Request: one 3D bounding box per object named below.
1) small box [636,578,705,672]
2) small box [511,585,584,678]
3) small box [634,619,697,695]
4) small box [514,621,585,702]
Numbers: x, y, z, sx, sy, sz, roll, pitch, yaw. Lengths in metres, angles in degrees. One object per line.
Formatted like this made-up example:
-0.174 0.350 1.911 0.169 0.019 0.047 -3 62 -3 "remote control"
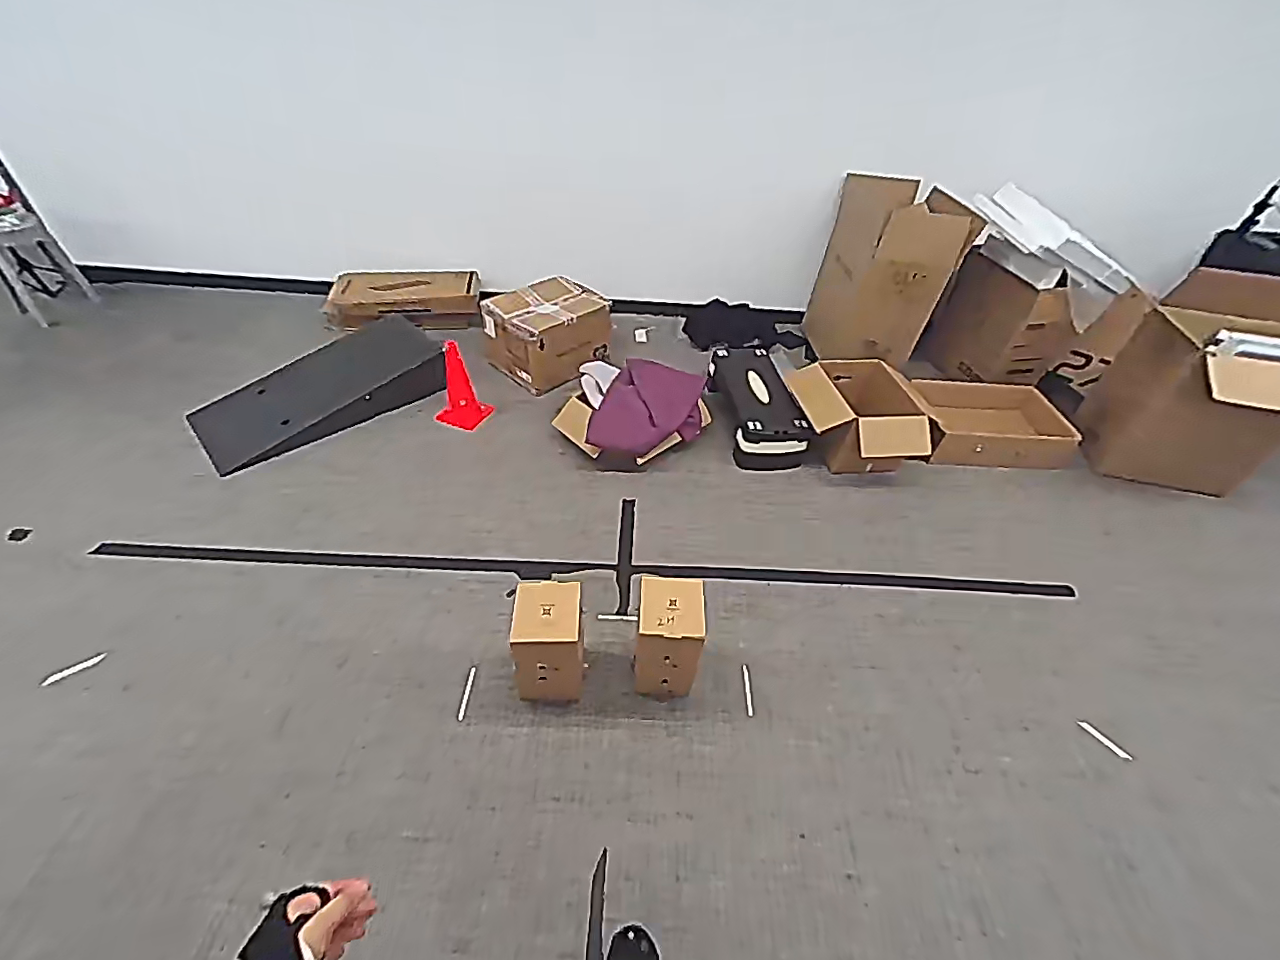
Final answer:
0.077 0.386 1.438 0.168 0.176 0.179 4 44 0 "small box"
-0.235 0.394 1.407 0.168 0.176 0.179 -1 45 -3 "small box"
0.071 0.502 1.557 0.168 0.176 0.179 3 44 -2 "small box"
-0.247 0.510 1.520 0.179 0.176 0.168 2 43 -3 "small box"
